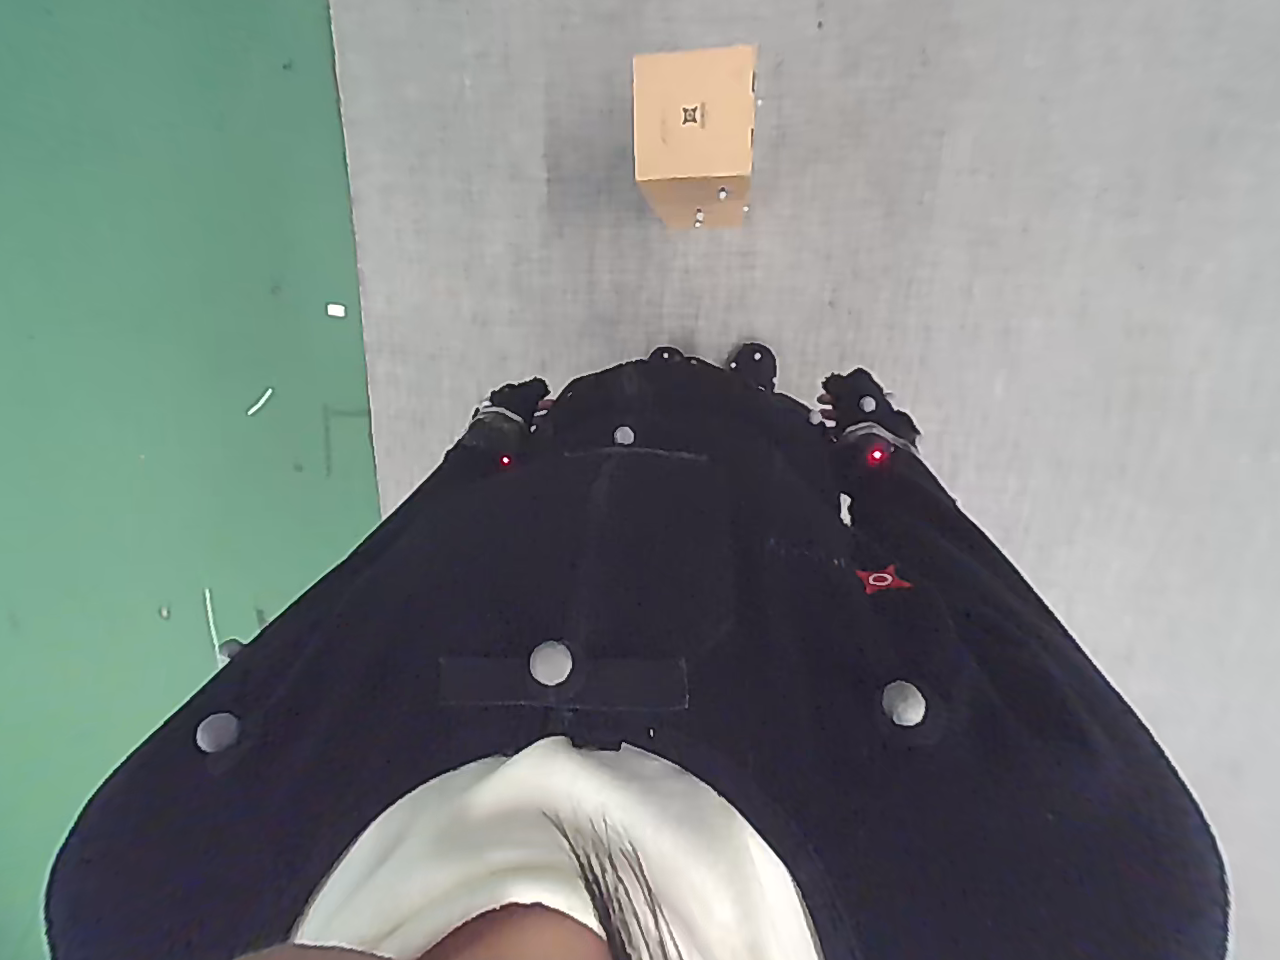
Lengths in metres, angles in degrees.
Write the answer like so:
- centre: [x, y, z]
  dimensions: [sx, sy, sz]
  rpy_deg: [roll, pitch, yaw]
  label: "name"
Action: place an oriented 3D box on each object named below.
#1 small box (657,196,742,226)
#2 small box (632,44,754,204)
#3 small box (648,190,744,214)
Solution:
- centre: [0.133, -0.655, 1.170]
  dimensions: [0.179, 0.176, 0.168]
  rpy_deg: [3, 105, 9]
  label: "small box"
- centre: [0.088, -0.552, 0.863]
  dimensions: [0.179, 0.176, 0.168]
  rpy_deg: [1, 104, 10]
  label: "small box"
- centre: [0.106, -0.608, 1.015]
  dimensions: [0.179, 0.176, 0.168]
  rpy_deg: [0, 105, 8]
  label: "small box"
